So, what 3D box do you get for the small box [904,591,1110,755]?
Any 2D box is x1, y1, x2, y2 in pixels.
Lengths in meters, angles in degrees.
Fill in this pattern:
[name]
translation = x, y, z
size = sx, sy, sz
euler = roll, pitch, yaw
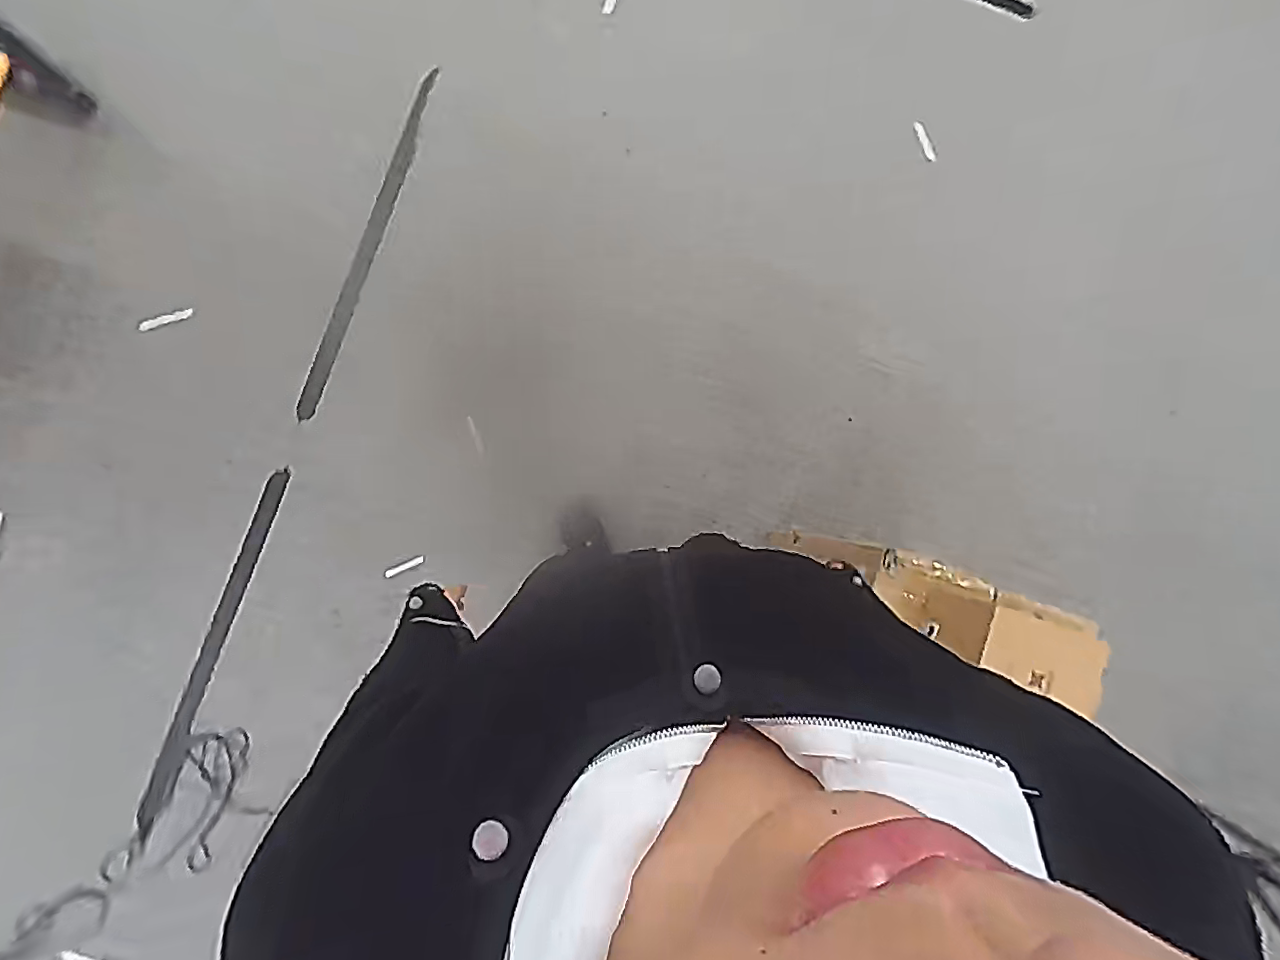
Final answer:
[small box]
translation = 0.545, 0.279, 0.825
size = 0.179, 0.176, 0.168
euler = 19, 85, 0
